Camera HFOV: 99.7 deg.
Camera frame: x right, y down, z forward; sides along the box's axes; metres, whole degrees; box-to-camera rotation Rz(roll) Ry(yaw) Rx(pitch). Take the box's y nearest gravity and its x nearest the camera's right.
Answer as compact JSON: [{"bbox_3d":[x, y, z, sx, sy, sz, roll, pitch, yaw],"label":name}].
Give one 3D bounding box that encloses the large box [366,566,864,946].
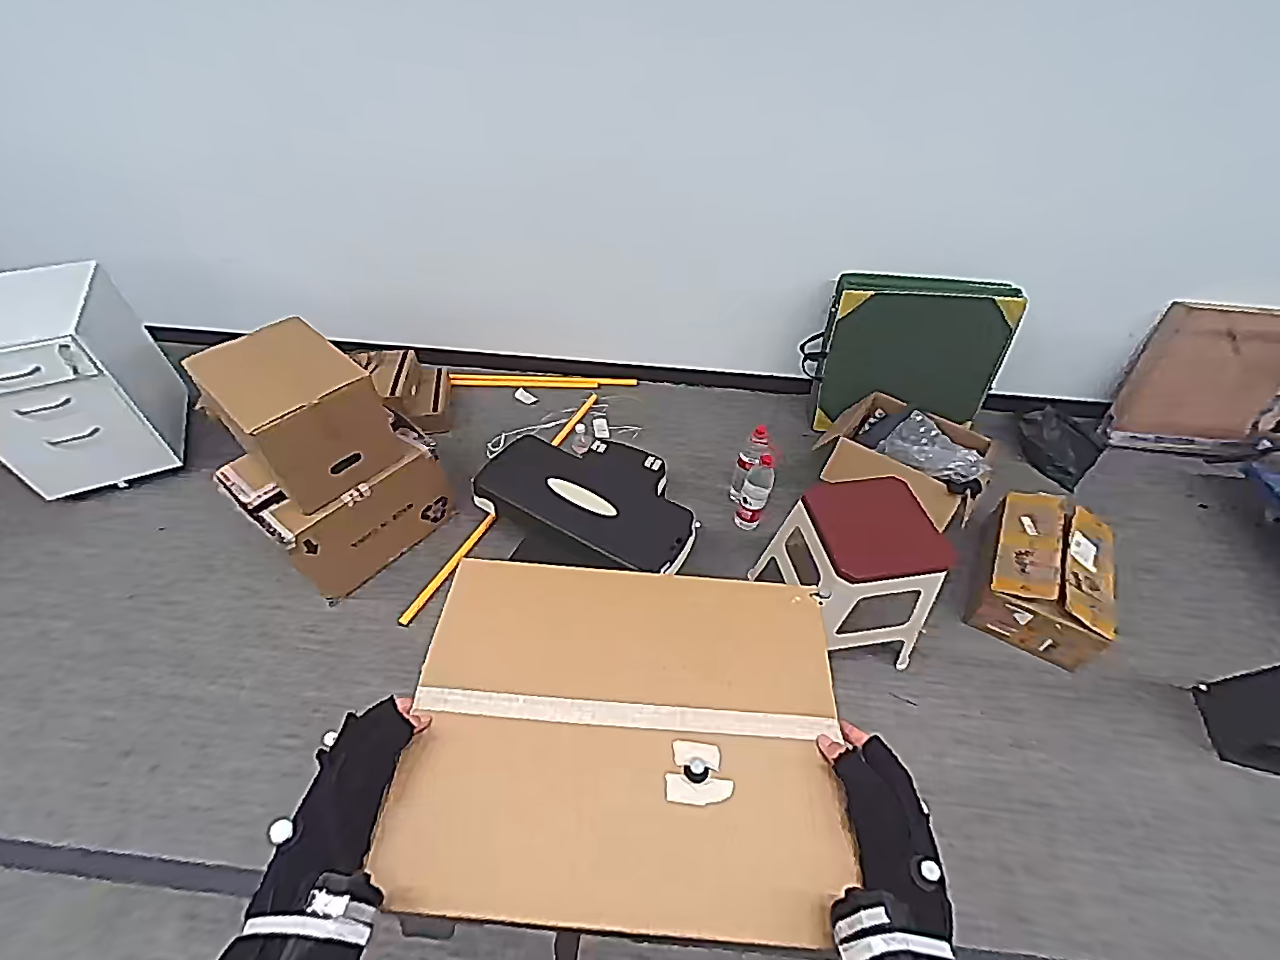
[{"bbox_3d":[-0.019,0.325,0.631,0.408,0.320,0.320,5,50,1],"label":"large box"}]
